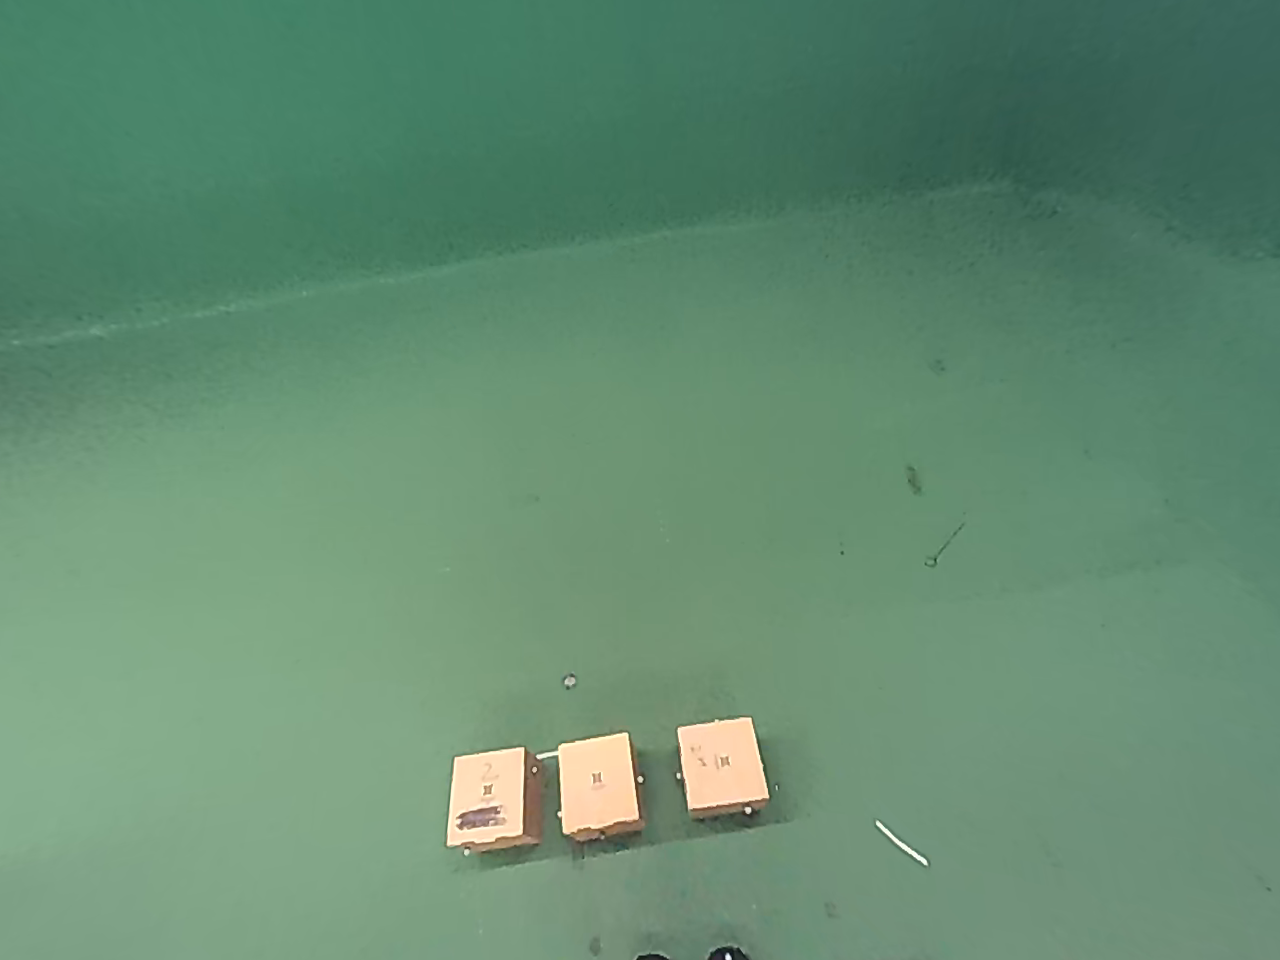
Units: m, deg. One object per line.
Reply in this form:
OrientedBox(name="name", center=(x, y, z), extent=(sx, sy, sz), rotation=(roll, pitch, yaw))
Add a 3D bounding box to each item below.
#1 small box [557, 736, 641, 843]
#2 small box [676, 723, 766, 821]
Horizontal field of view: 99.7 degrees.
OrientedBox(name="small box", center=(-0.094, 0.717, 1.248), extent=(0.168, 0.176, 0.179), rotation=(-10, 52, -2))
OrientedBox(name="small box", center=(0.178, 0.677, 1.248), extent=(0.179, 0.176, 0.168), rotation=(-7, 51, 0))
